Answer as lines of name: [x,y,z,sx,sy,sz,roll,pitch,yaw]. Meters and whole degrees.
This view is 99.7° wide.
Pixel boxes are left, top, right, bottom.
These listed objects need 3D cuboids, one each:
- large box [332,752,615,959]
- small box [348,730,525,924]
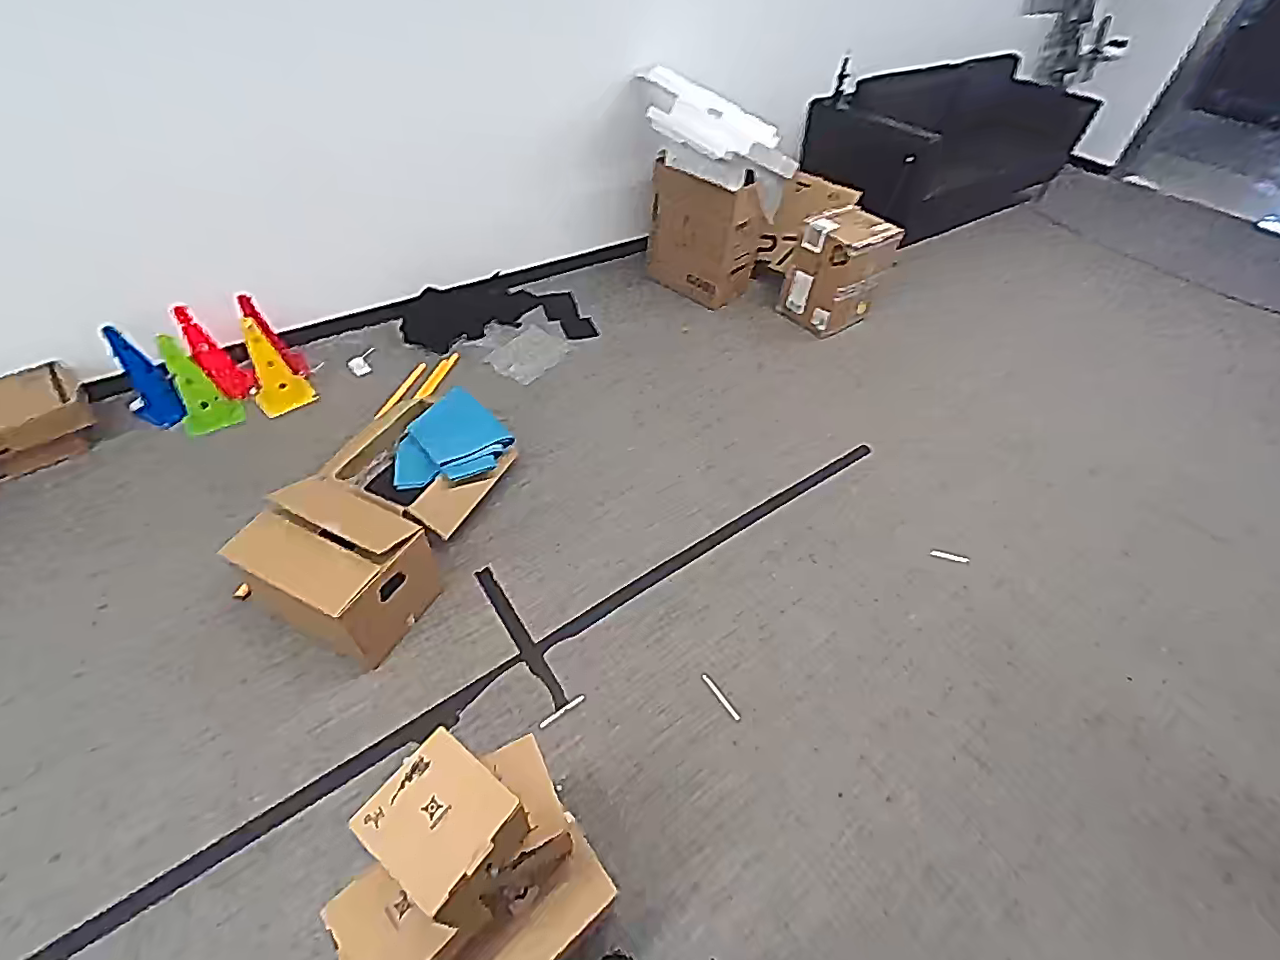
large box: [-0.301,0.846,1.066,0.408,0.320,0.320,-30,57,-30]
small box: [-0.291,0.521,0.813,0.179,0.176,0.168,31,52,21]
